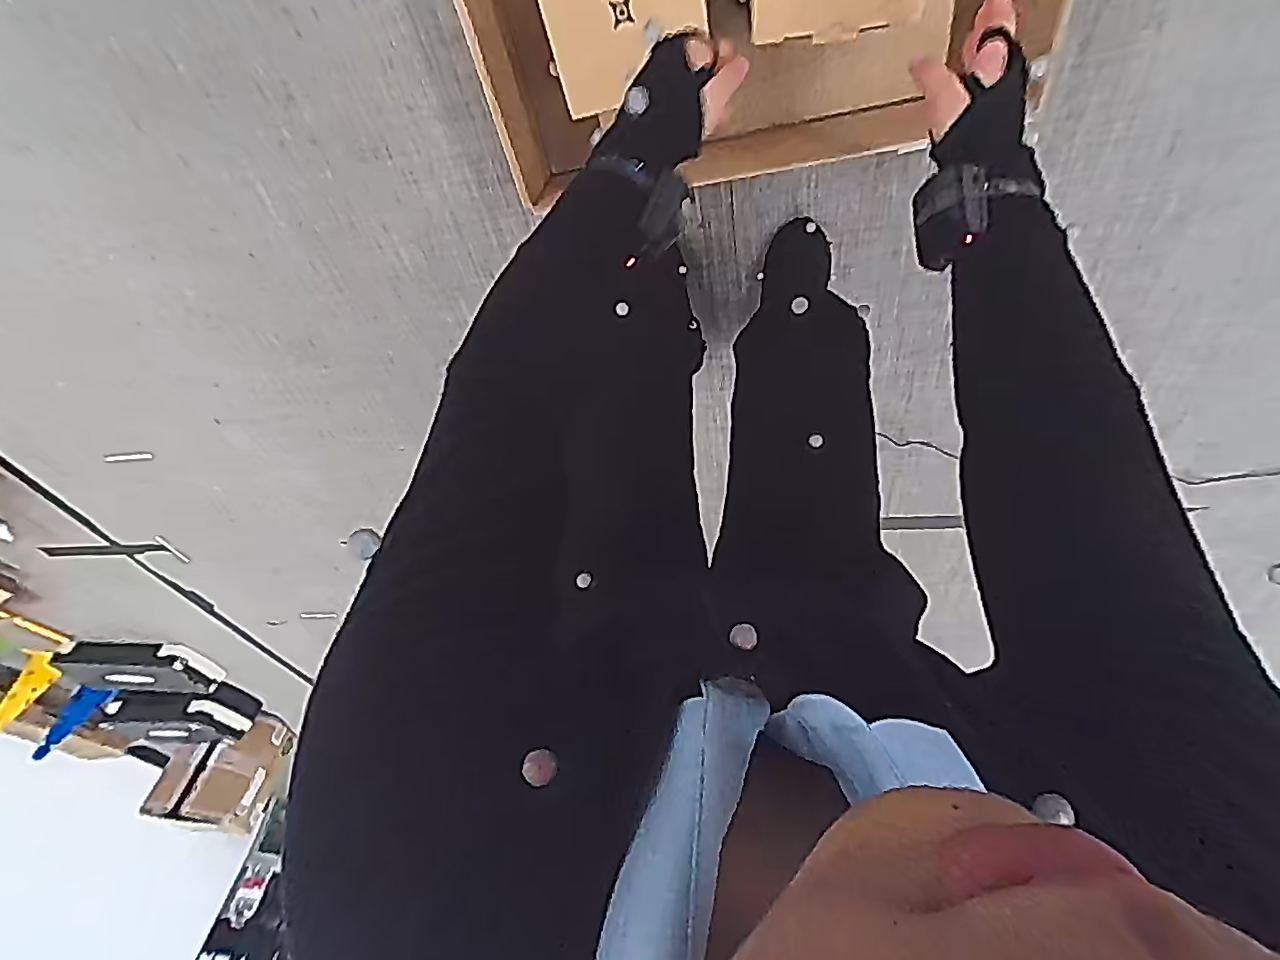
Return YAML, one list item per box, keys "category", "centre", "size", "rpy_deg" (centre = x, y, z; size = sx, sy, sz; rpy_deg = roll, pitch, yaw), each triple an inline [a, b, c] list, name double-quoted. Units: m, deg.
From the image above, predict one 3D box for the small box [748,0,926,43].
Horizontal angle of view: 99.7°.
- category: "small box"
  centre: [0.198, -0.570, 0.545]
  size: [0.168, 0.176, 0.179]
  rpy_deg: [0, 136, 9]

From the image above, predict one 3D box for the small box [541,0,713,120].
- category: "small box"
  centre: [-0.010, -0.538, 0.601]
  size: [0.168, 0.176, 0.179]
  rpy_deg: [-7, 134, 12]
